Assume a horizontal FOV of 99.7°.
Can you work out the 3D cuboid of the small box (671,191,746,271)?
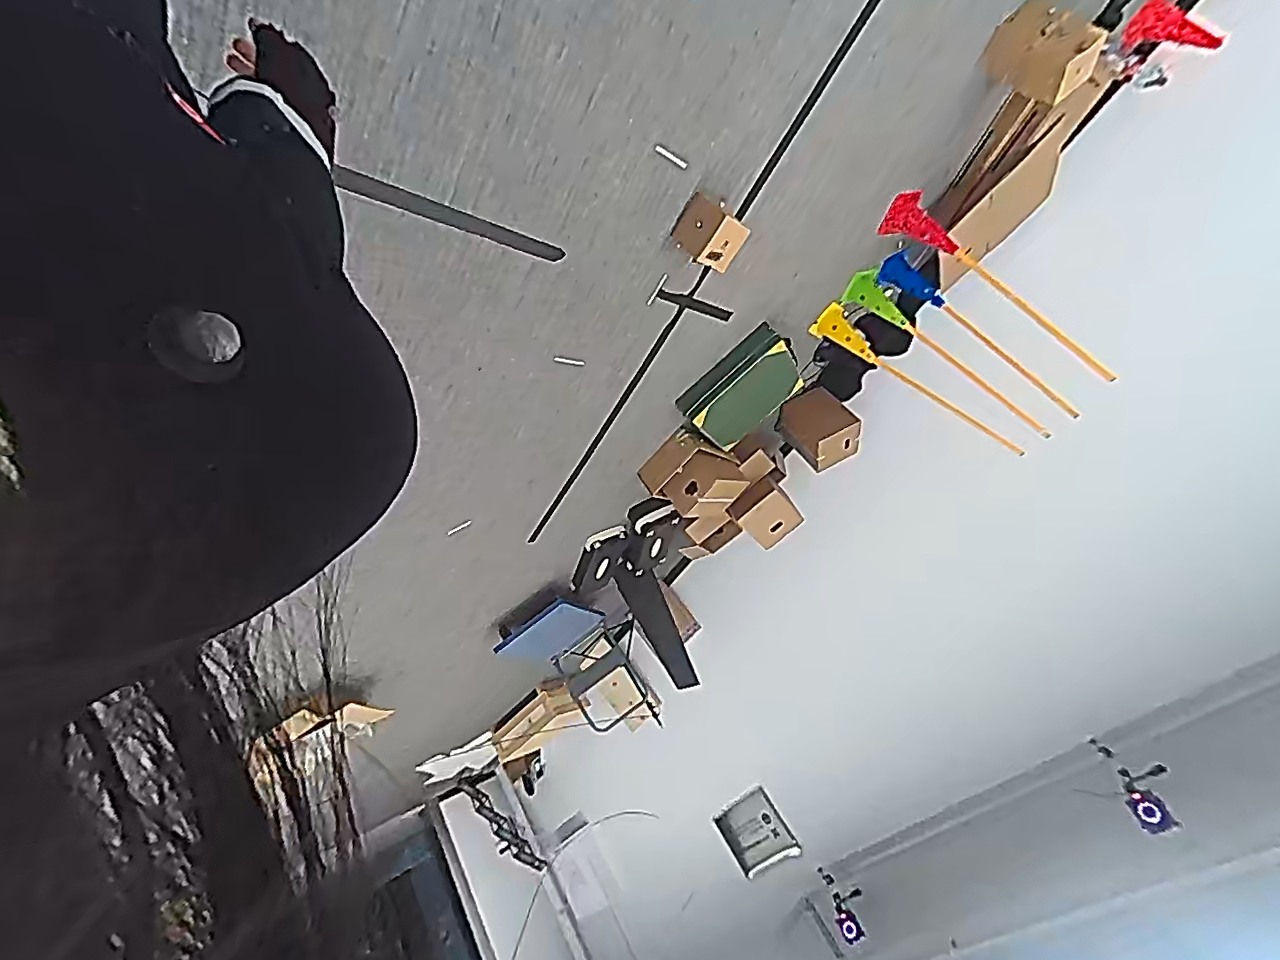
[{"bbox_3d":[0.236,-0.887,1.930,0.168,0.176,0.179,-2,136,-49],"label":"small box"}]
